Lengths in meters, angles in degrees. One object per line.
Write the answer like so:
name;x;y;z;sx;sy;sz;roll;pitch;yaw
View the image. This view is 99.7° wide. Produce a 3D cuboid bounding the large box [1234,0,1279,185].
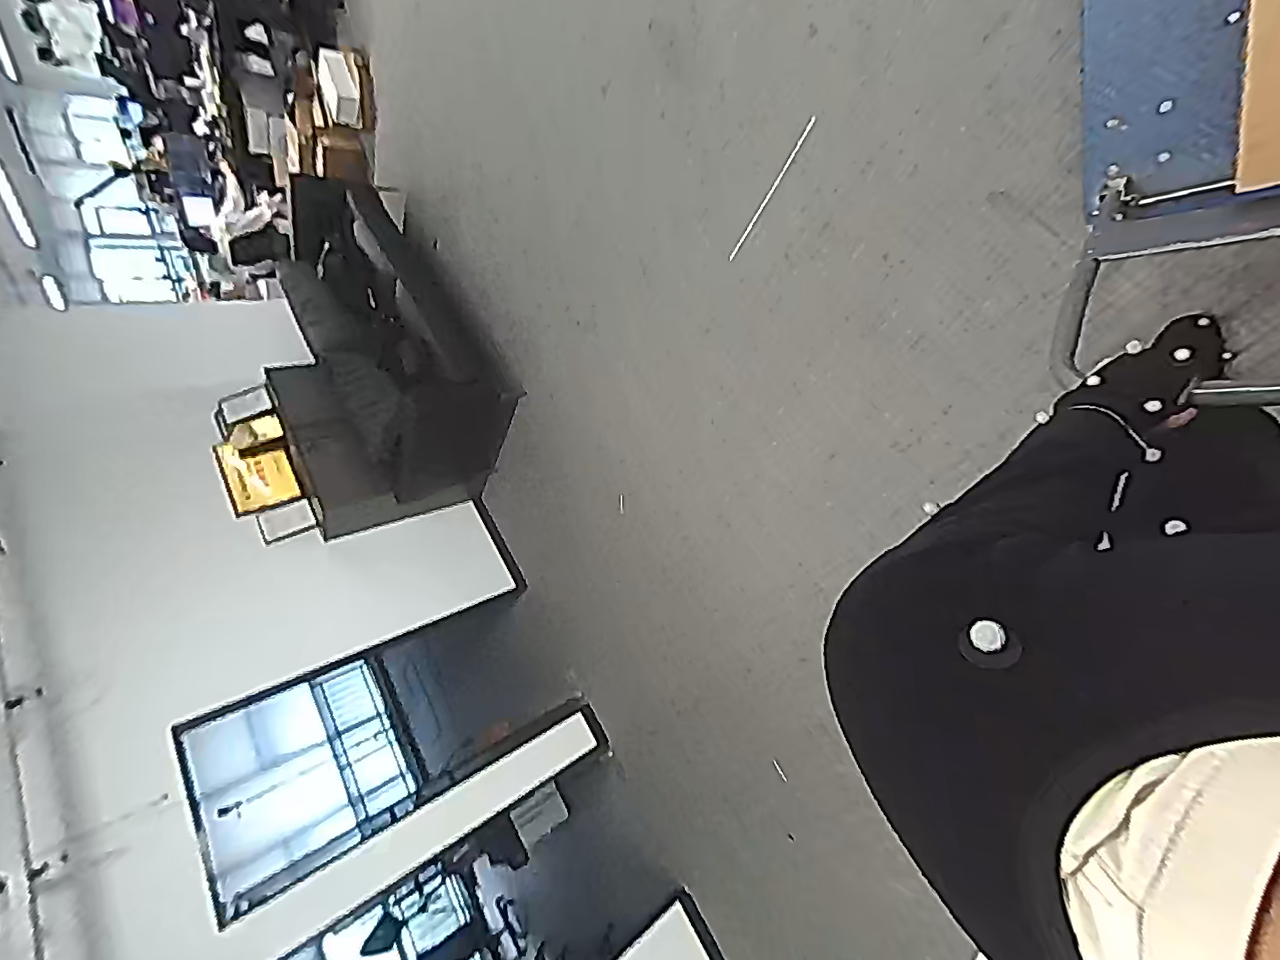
large box;0.957;-0.648;0.650;0.320;0.320;0.408;3;125;46
